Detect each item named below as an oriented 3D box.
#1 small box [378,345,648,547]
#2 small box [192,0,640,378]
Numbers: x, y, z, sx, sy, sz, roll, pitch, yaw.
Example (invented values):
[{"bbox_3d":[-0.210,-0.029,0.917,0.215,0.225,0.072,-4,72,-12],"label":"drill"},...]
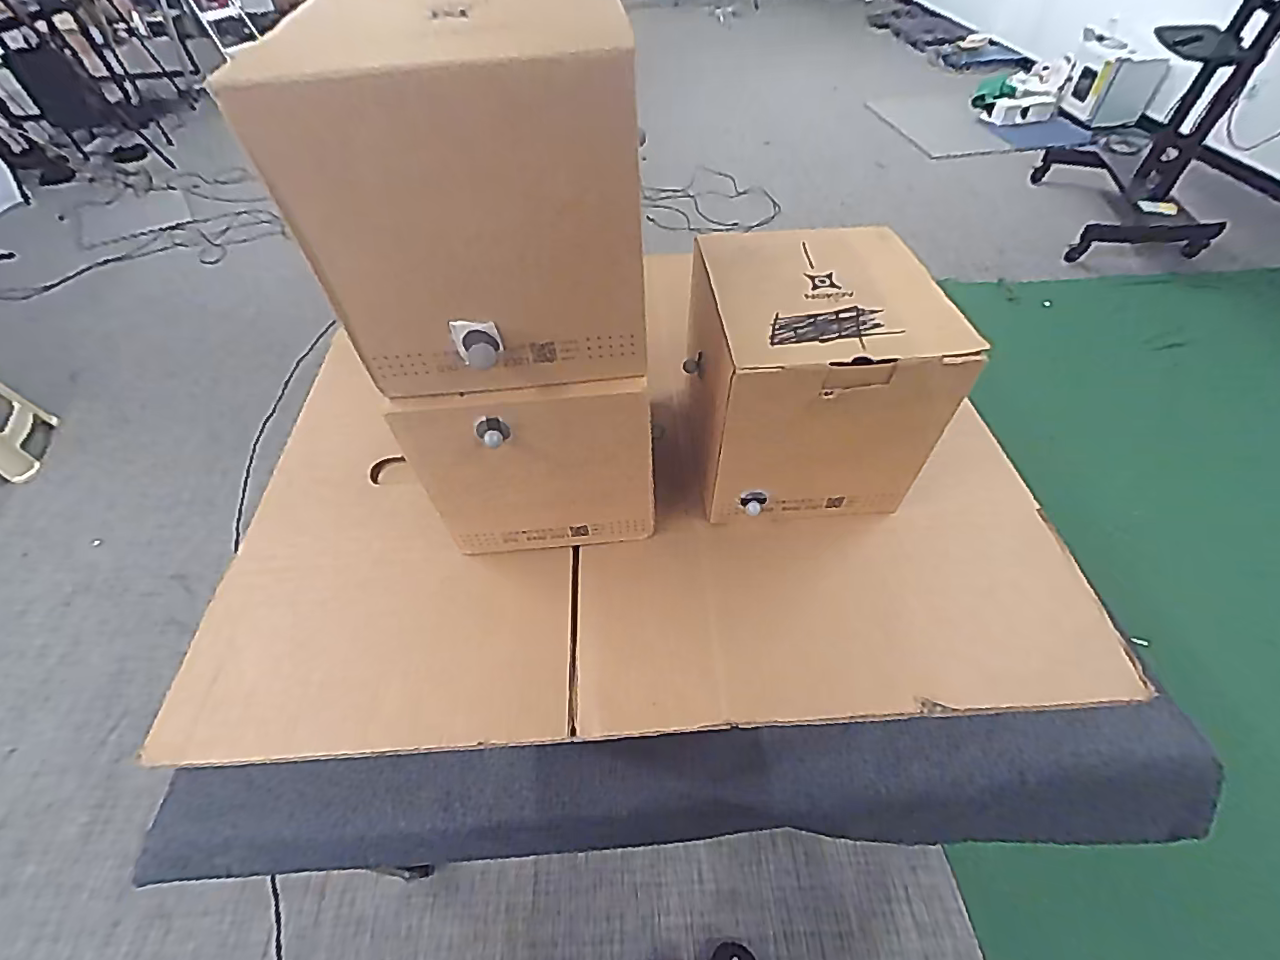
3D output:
[{"bbox_3d":[-0.082,-0.065,0.449,0.168,0.176,0.179,-5,50,1],"label":"small box"},{"bbox_3d":[-0.092,-0.184,0.316,0.168,0.176,0.179,-7,53,-2],"label":"small box"}]
